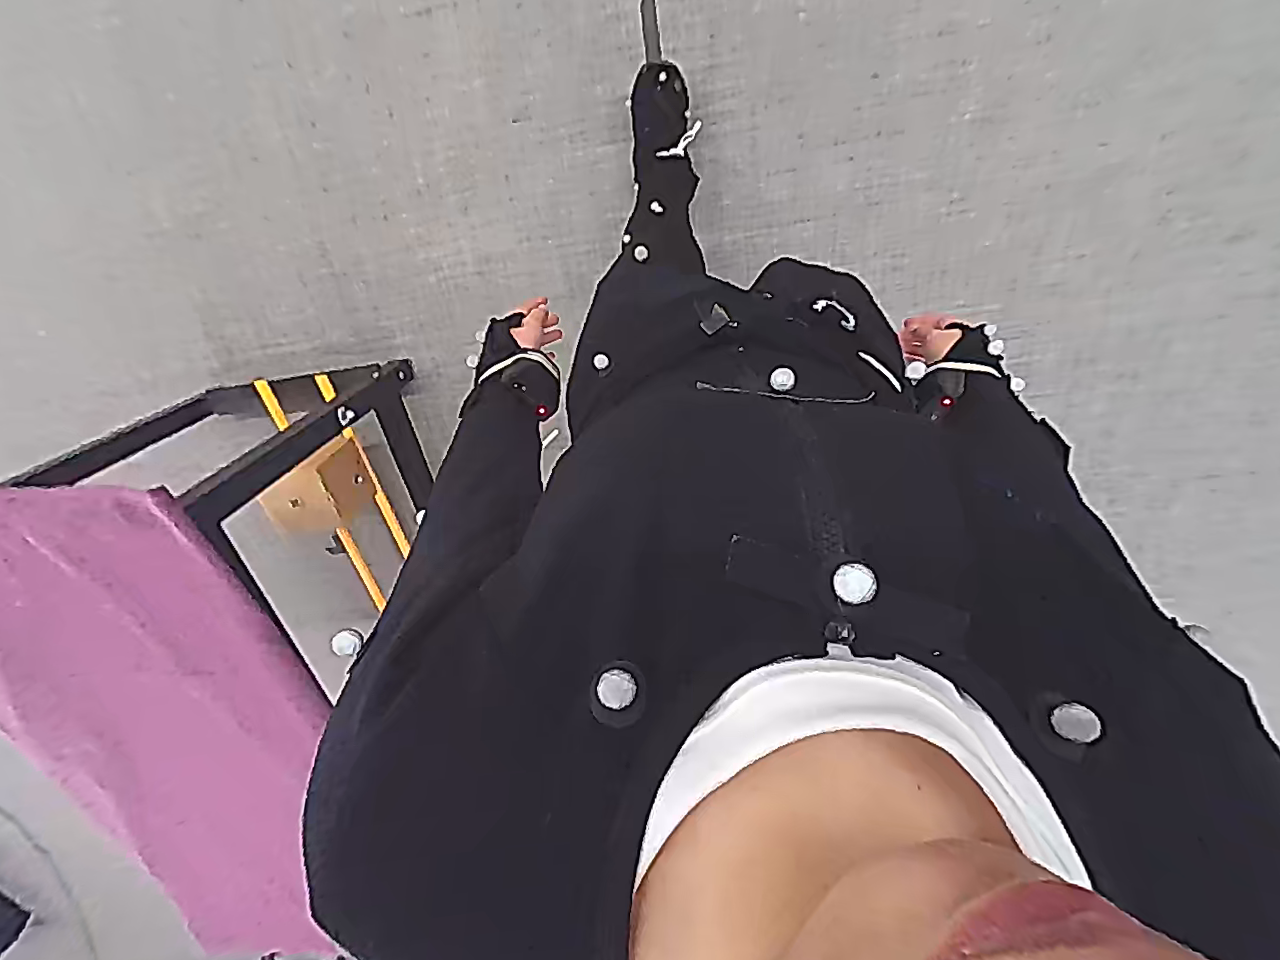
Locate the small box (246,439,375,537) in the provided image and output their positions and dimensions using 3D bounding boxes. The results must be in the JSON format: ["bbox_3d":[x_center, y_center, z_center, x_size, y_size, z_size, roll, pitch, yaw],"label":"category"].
[{"bbox_3d":[-0.784,0.016,1.308,0.179,0.176,0.168,-8,119,6],"label":"small box"}]
